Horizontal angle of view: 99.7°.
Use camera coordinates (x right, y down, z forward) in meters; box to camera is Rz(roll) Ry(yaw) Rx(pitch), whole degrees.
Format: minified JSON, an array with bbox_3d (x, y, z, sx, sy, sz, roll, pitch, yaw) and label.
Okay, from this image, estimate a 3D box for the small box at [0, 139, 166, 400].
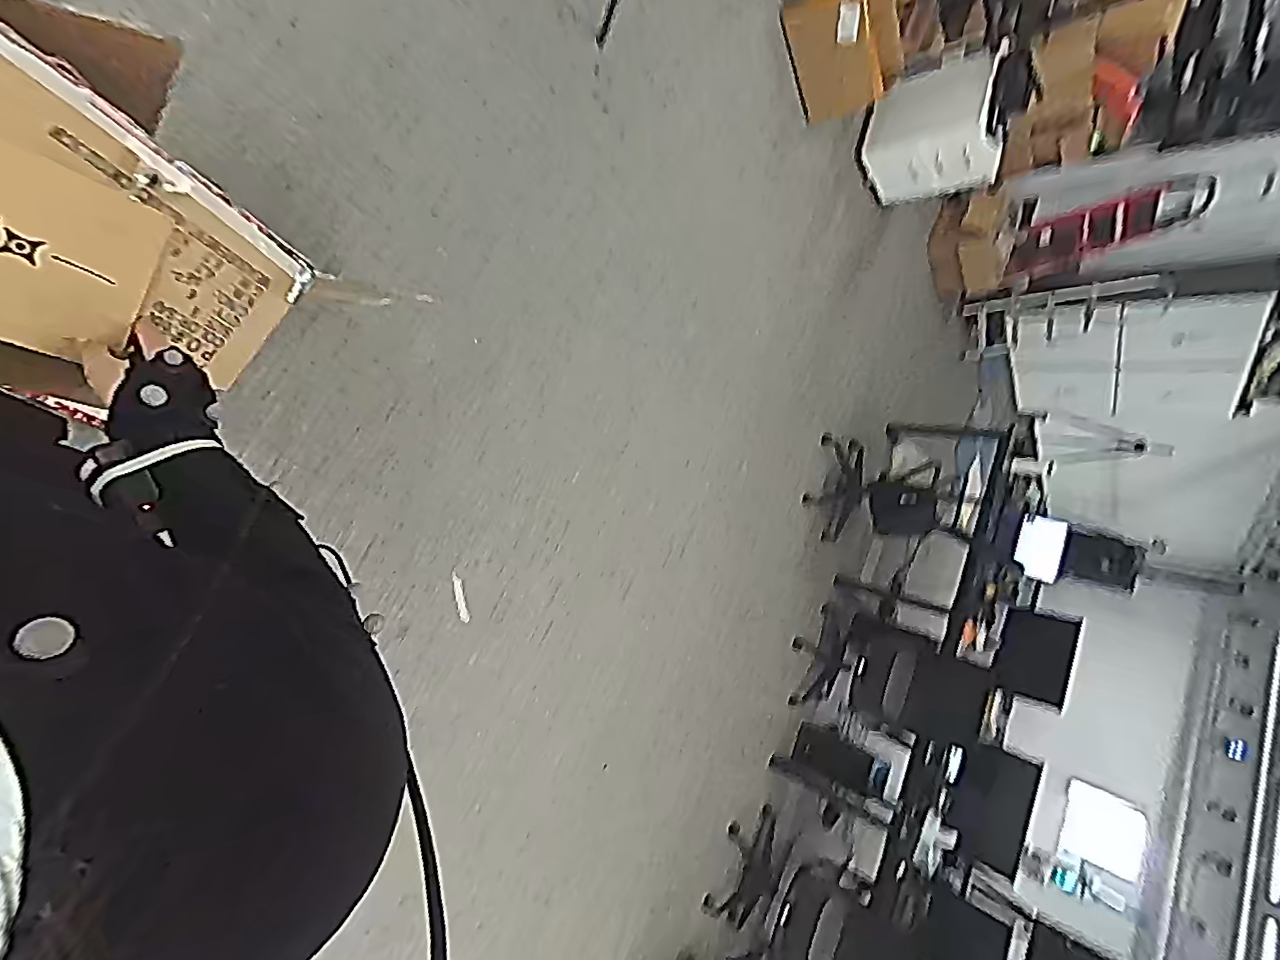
[{"bbox_3d":[-0.569,-0.184,0.486,0.179,0.176,0.168,19,72,-43],"label":"small box"}]
